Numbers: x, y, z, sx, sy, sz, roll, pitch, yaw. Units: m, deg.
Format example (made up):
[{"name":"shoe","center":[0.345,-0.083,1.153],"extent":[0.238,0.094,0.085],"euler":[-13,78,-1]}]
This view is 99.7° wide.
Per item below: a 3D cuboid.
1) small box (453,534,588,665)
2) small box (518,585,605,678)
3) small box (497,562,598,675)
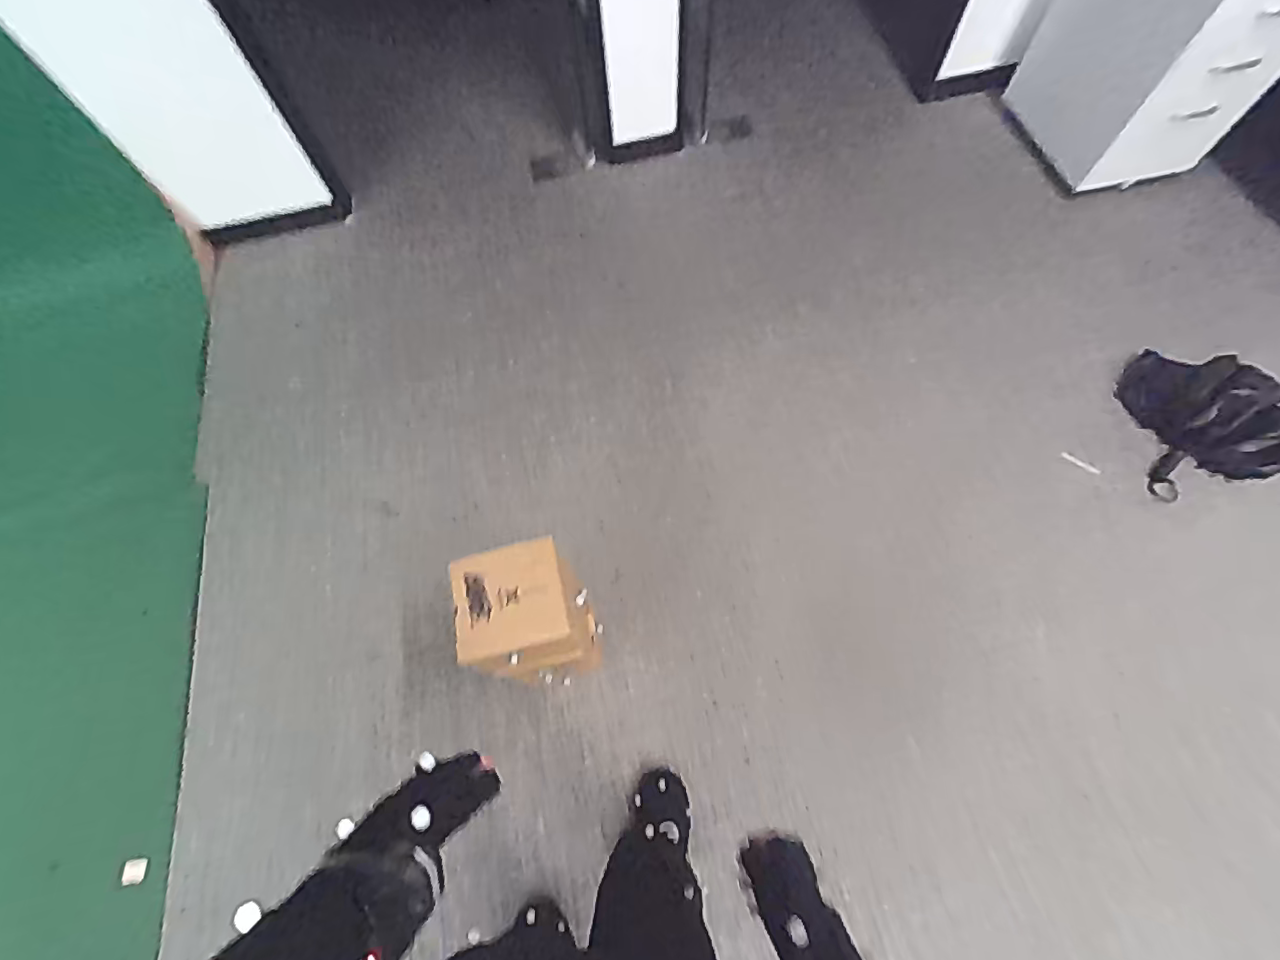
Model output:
[{"name":"small box","center":[-0.199,0.212,0.926],"extent":[0.179,0.176,0.168],"euler":[-13,66,-1]},{"name":"small box","center":[-0.177,0.346,1.223],"extent":[0.179,0.176,0.168],"euler":[-10,66,-1]},{"name":"small box","center":[-0.186,0.279,1.075],"extent":[0.168,0.176,0.179],"euler":[-12,67,0]}]
